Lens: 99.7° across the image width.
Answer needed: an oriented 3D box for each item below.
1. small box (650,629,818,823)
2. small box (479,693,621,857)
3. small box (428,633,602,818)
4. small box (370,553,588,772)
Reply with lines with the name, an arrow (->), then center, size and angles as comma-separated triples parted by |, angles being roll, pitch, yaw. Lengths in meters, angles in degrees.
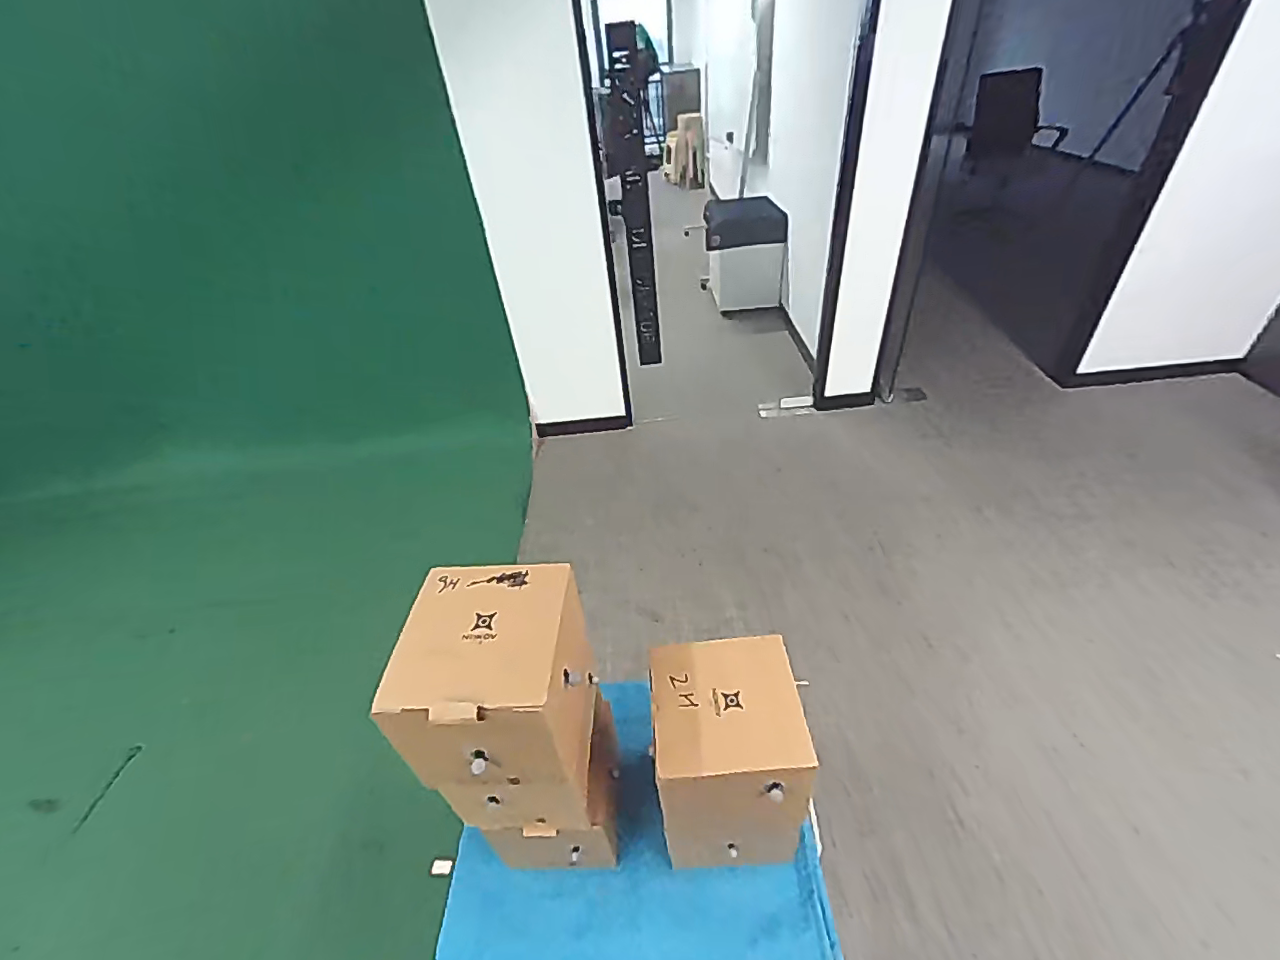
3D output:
small box -> 0.108, 0.310, 0.682 | 0.179, 0.176, 0.168 | -6, 39, 3
small box -> -0.121, 0.444, 0.814 | 0.168, 0.176, 0.179 | -2, 40, 4
small box -> -0.147, 0.321, 0.712 | 0.168, 0.176, 0.179 | -2, 39, 5
small box -> -0.156, 0.202, 0.599 | 0.168, 0.176, 0.179 | -1, 40, 5
